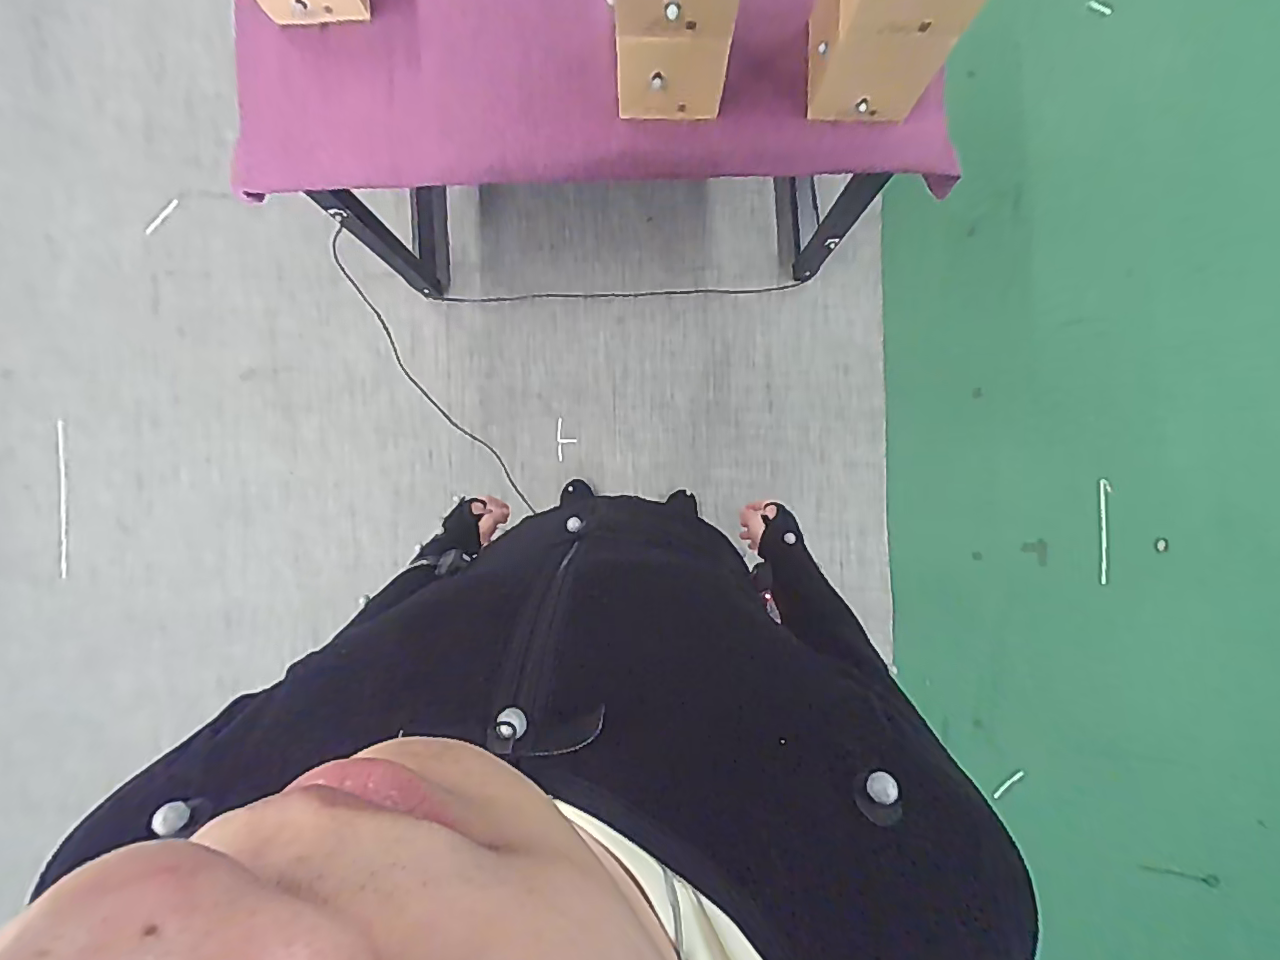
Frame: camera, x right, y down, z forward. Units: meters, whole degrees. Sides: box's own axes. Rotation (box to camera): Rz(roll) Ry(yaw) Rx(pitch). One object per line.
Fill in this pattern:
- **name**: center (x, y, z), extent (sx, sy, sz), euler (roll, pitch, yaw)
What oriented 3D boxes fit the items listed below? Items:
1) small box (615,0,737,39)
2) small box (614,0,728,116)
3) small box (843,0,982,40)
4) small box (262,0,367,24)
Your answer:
- **small box**: center (0.048, -0.712, 0.681), extent (0.168, 0.176, 0.179), euler (1, 89, 1)
- **small box**: center (0.047, -0.705, 0.845), extent (0.168, 0.176, 0.179), euler (0, 88, 0)
- **small box**: center (0.365, -0.707, 0.677), extent (0.168, 0.176, 0.179), euler (2, 88, 2)
- **small box**: center (-0.553, -0.873, 0.847), extent (0.168, 0.176, 0.179), euler (-4, 90, 0)
